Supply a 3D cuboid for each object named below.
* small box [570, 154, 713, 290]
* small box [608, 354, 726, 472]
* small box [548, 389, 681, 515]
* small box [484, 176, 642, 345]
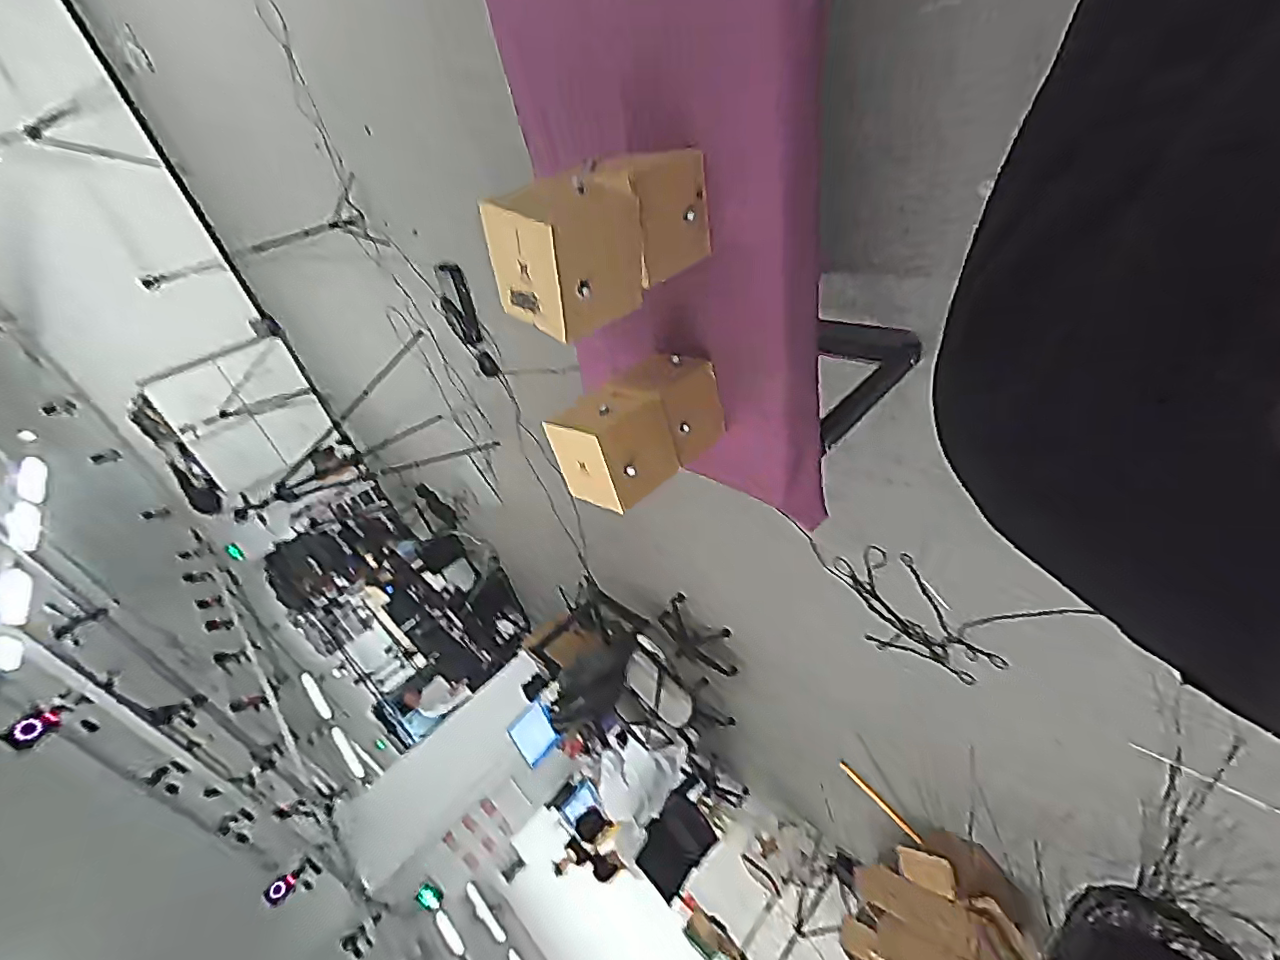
[{"bbox_3d":[0.000,-0.441,0.918,0.179,0.176,0.168,25,141,39],"label":"small box"},{"bbox_3d":[0.065,-0.147,1.146,0.168,0.176,0.179,18,136,43],"label":"small box"},{"bbox_3d":[-0.044,-0.064,1.060,0.168,0.176,0.179,16,135,44],"label":"small box"},{"bbox_3d":[-0.109,-0.345,0.841,0.168,0.176,0.179,33,145,31],"label":"small box"}]
